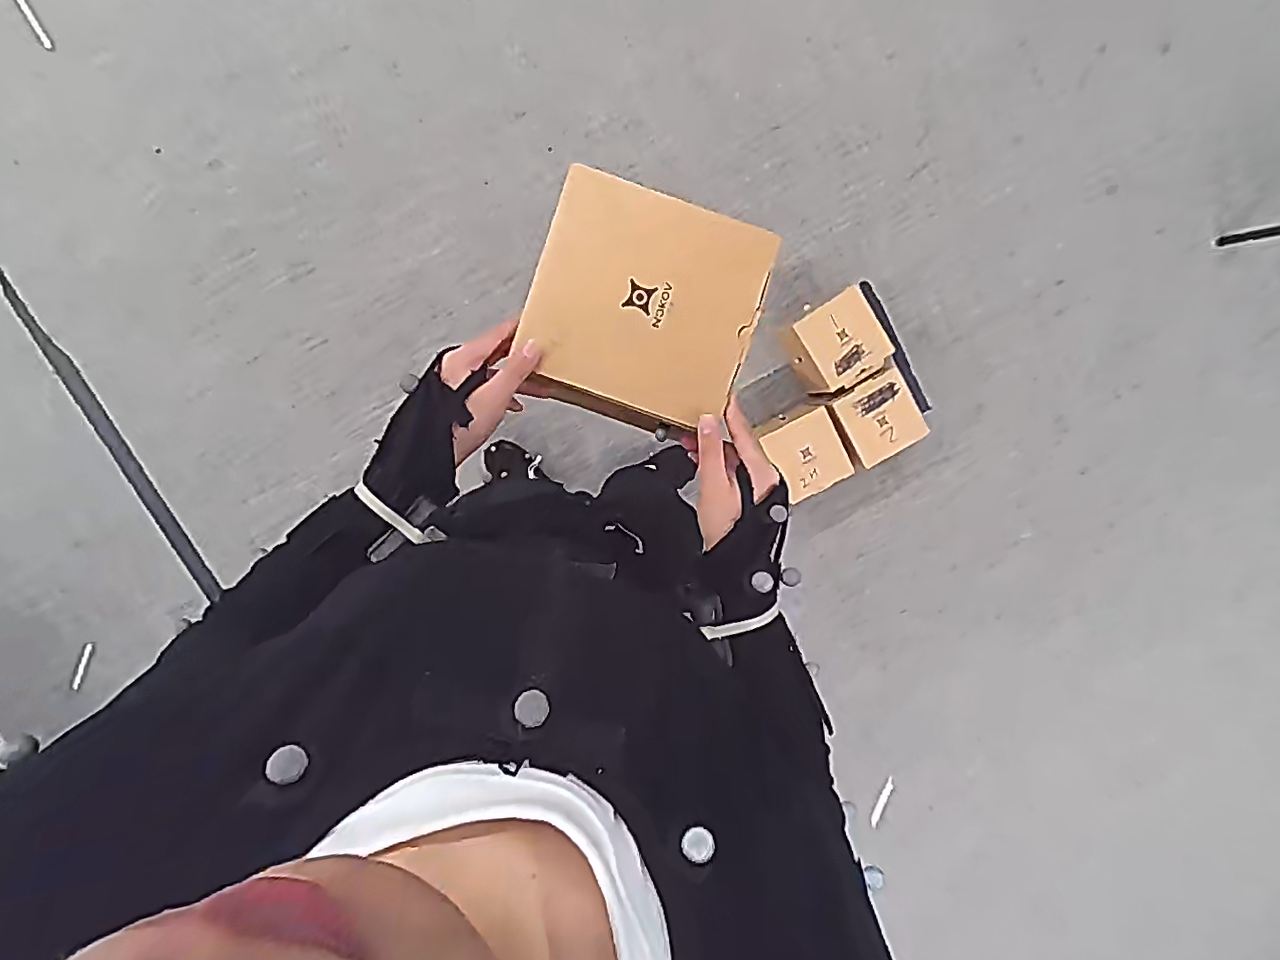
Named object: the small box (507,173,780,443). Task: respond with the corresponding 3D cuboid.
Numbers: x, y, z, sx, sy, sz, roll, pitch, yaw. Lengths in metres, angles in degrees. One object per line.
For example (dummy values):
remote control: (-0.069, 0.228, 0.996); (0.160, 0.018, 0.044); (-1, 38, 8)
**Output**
small box: (0.001, -0.137, 0.502); (0.179, 0.176, 0.168); (19, 90, -2)
